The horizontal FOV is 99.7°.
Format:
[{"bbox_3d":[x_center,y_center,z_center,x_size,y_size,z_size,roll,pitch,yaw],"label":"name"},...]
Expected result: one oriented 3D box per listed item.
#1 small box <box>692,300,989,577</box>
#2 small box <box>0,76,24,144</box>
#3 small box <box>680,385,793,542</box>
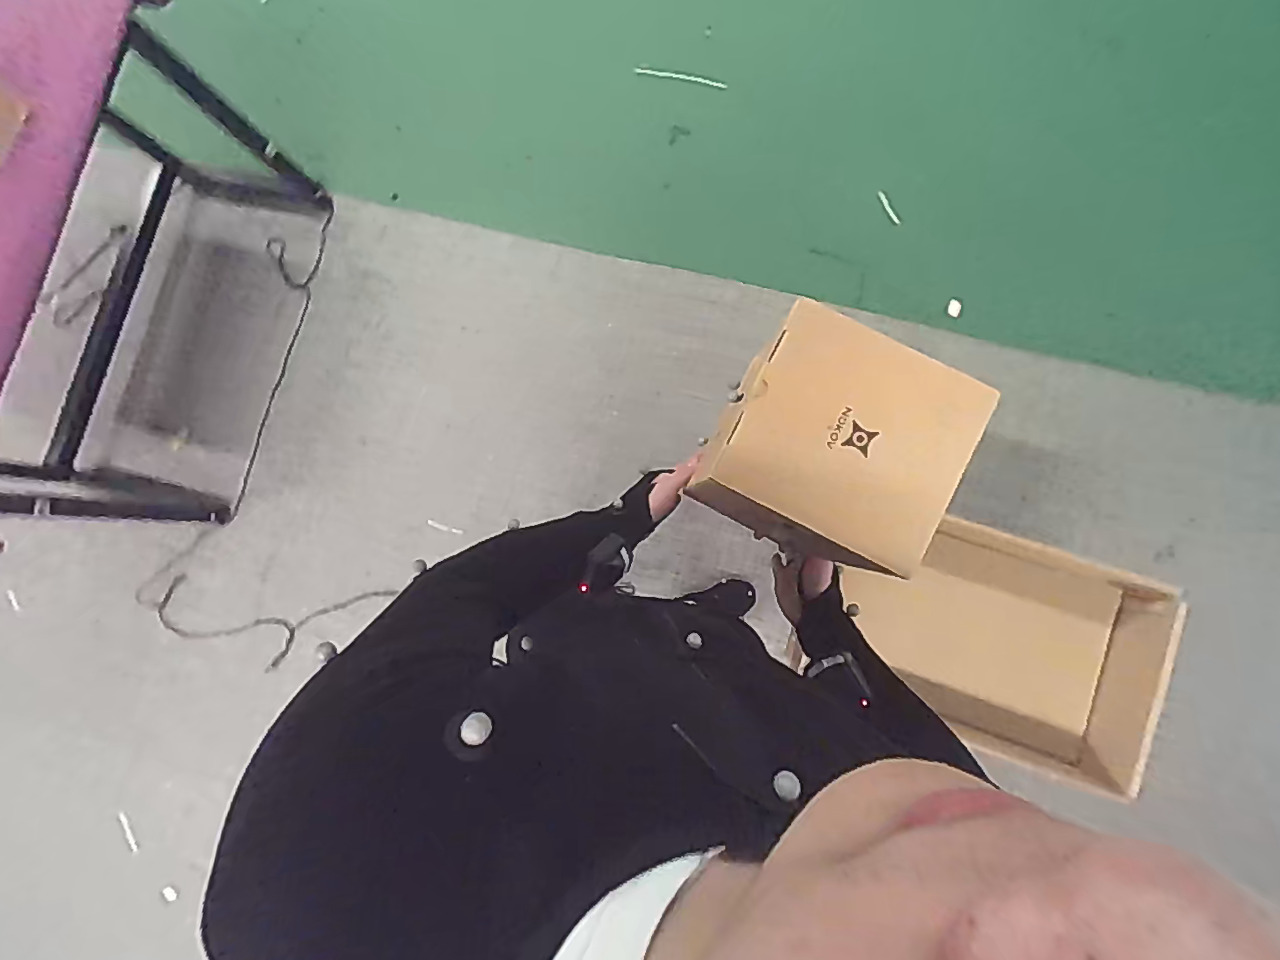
[{"bbox_3d":[0.162,-0.031,0.500,0.179,0.176,0.168,26,88,3],"label":"small box"},{"bbox_3d":[-1.404,-0.778,1.068,0.168,0.176,0.179,26,87,8],"label":"small box"},{"bbox_3d":[0.175,-0.022,0.827,0.179,0.176,0.168,27,87,3],"label":"small box"}]
